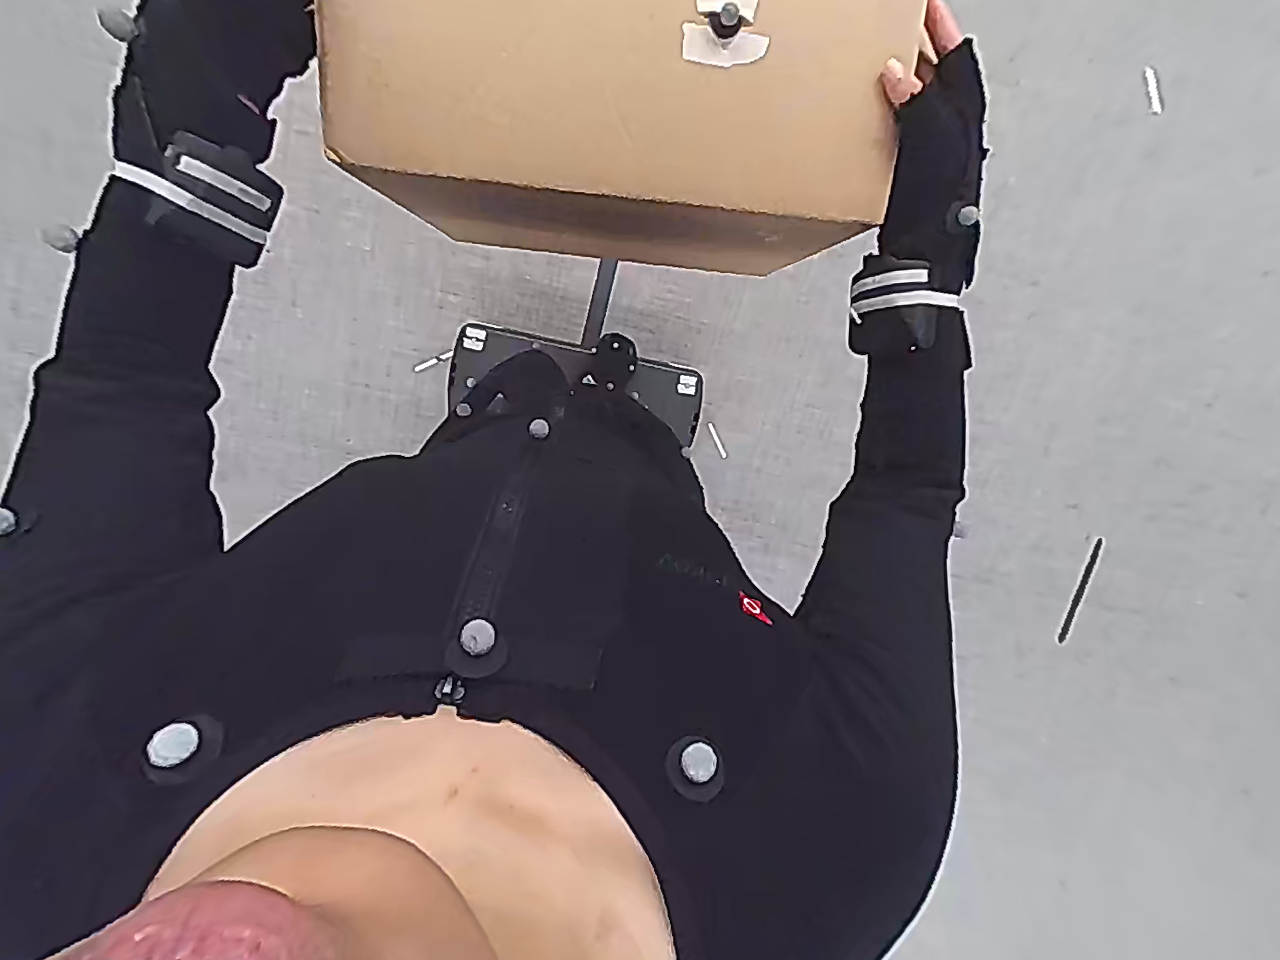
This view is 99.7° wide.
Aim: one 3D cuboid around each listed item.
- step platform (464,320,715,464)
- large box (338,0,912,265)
[{"bbox_3d":[-0.138,-0.244,1.525,0.684,0.204,0.286,10,101,-7],"label":"step platform"},{"bbox_3d":[-0.012,-0.403,0.510,0.408,0.320,0.320,4,104,-5],"label":"large box"}]
